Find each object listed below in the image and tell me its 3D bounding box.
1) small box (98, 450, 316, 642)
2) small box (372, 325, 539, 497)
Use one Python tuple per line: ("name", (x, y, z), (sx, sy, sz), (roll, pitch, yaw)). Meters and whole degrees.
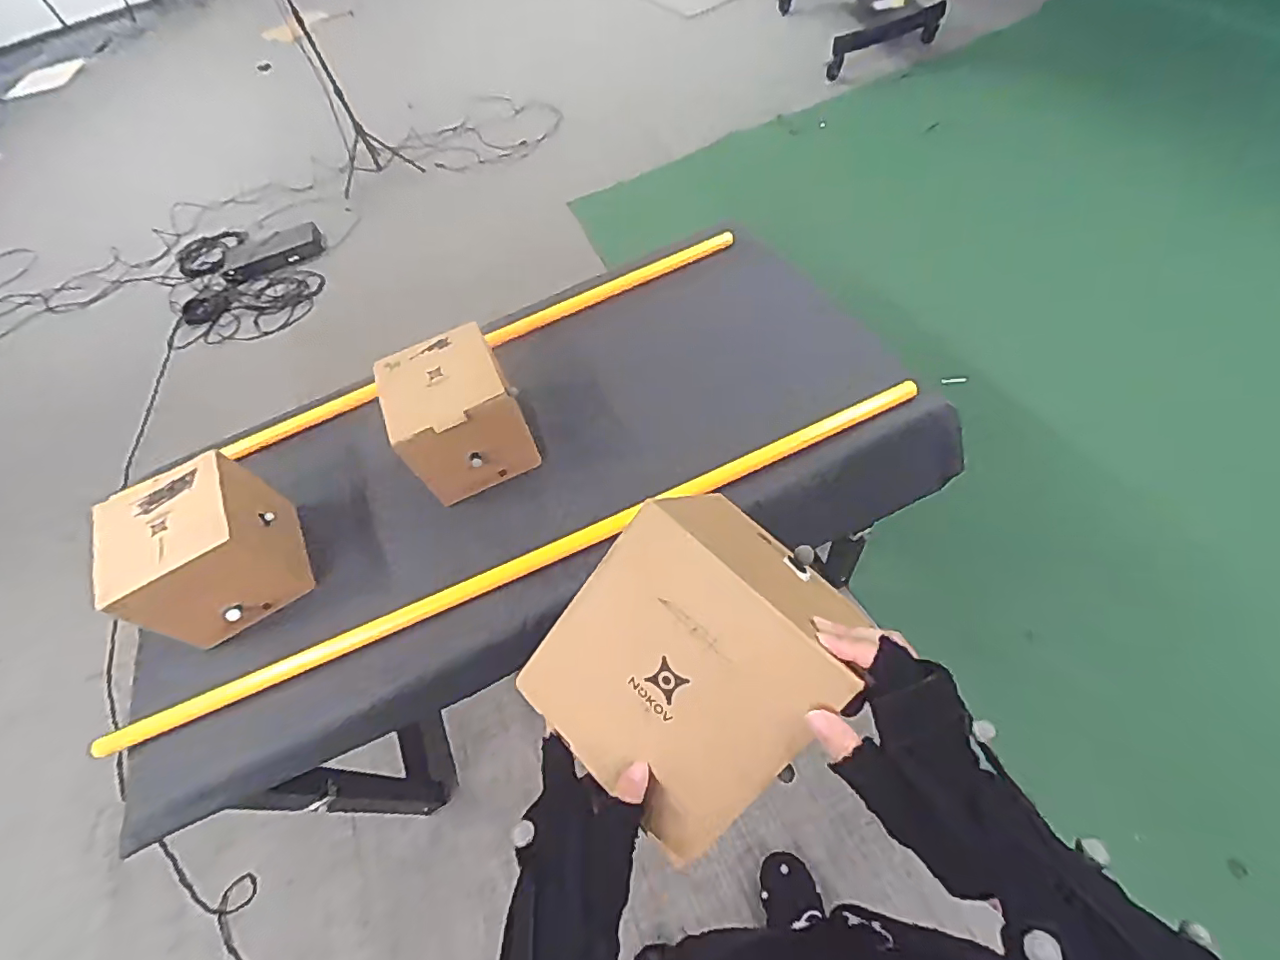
("small box", (-0.597, 0.097, 0.761), (0.168, 0.176, 0.179), (-31, 58, -10))
("small box", (-0.275, -0.096, 0.831), (0.168, 0.176, 0.179), (-28, 56, -6))
